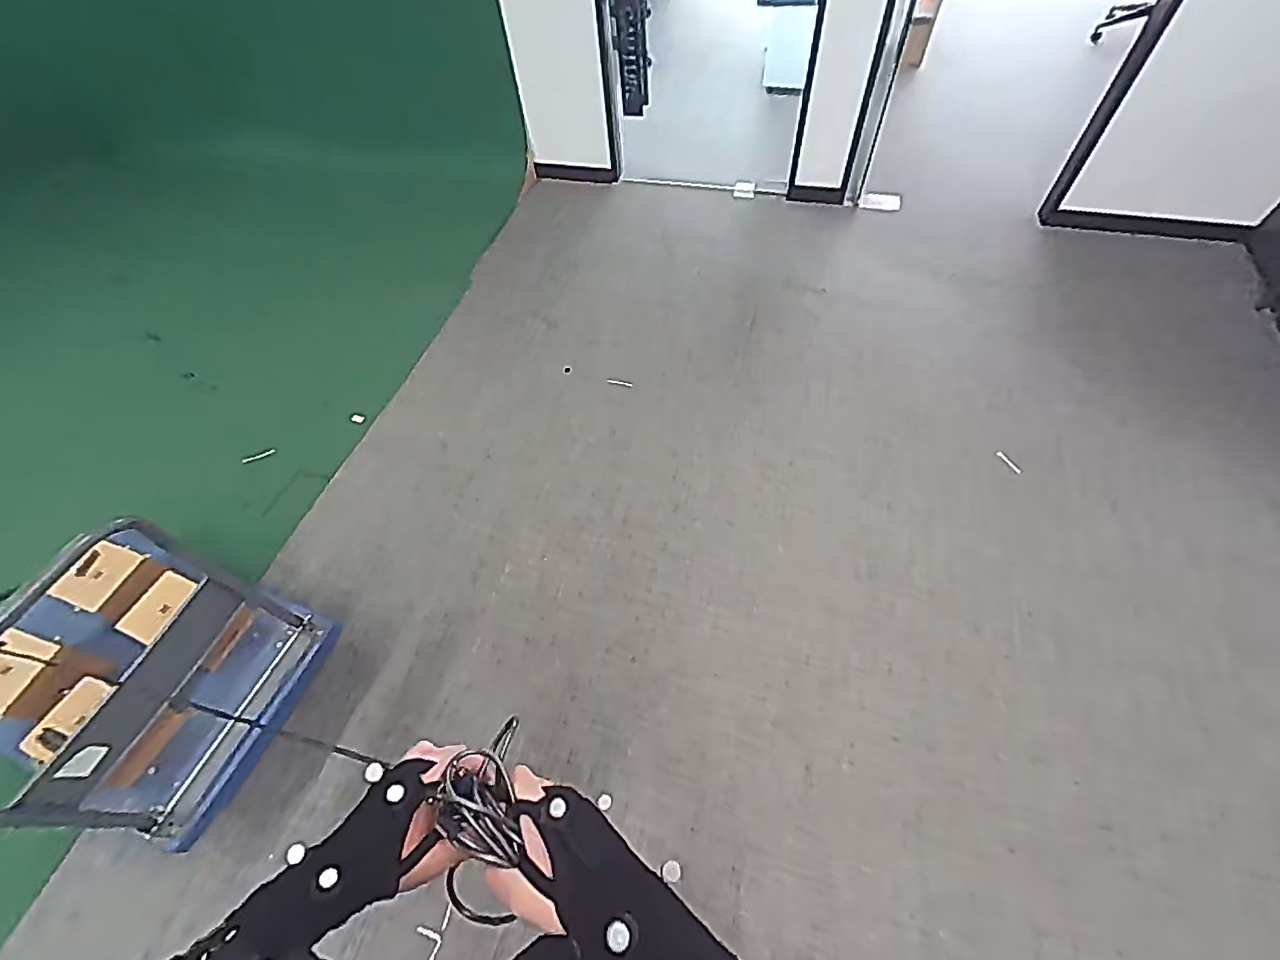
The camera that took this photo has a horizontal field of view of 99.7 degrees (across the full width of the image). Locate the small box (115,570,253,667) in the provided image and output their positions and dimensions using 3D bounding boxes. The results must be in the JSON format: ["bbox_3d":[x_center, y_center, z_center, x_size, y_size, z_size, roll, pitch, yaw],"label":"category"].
[{"bbox_3d":[-1.171,0.364,1.403,0.179,0.176,0.168,19,59,13],"label":"small box"}]

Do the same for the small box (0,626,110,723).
[{"bbox_3d":[-1.496,0.486,1.337,0.179,0.176,0.168,14,58,12],"label":"small box"}]

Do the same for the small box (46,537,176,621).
[{"bbox_3d":[-1.407,0.283,1.467,0.179,0.176,0.168,16,60,12],"label":"small box"}]
